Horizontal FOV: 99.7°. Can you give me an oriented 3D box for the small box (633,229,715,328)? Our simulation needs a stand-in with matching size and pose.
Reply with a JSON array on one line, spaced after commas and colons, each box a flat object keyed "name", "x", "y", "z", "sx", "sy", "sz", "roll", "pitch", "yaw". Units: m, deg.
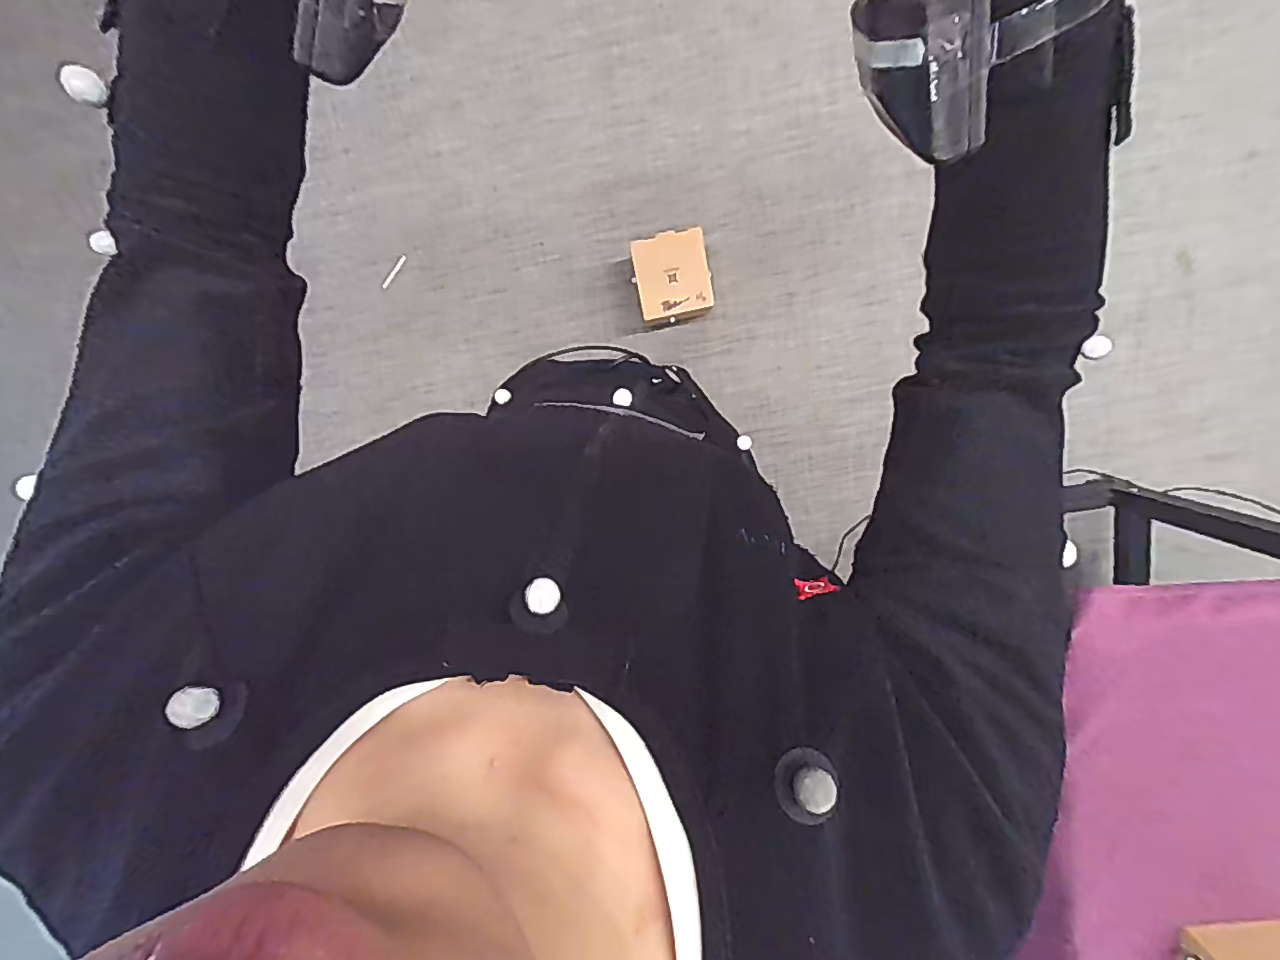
[{"name": "small box", "x": 0.079, "y": -0.474, "z": 1.297, "sx": 0.168, "sy": 0.176, "sz": 0.179, "roll": -10, "pitch": 100, "yaw": 5}]

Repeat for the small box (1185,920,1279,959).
[{"name": "small box", "x": 0.920, "y": 0.764, "z": 0.757, "sx": 0.179, "sy": 0.176, "sz": 0.168, "roll": -7, "pitch": 101, "yaw": 4}]
